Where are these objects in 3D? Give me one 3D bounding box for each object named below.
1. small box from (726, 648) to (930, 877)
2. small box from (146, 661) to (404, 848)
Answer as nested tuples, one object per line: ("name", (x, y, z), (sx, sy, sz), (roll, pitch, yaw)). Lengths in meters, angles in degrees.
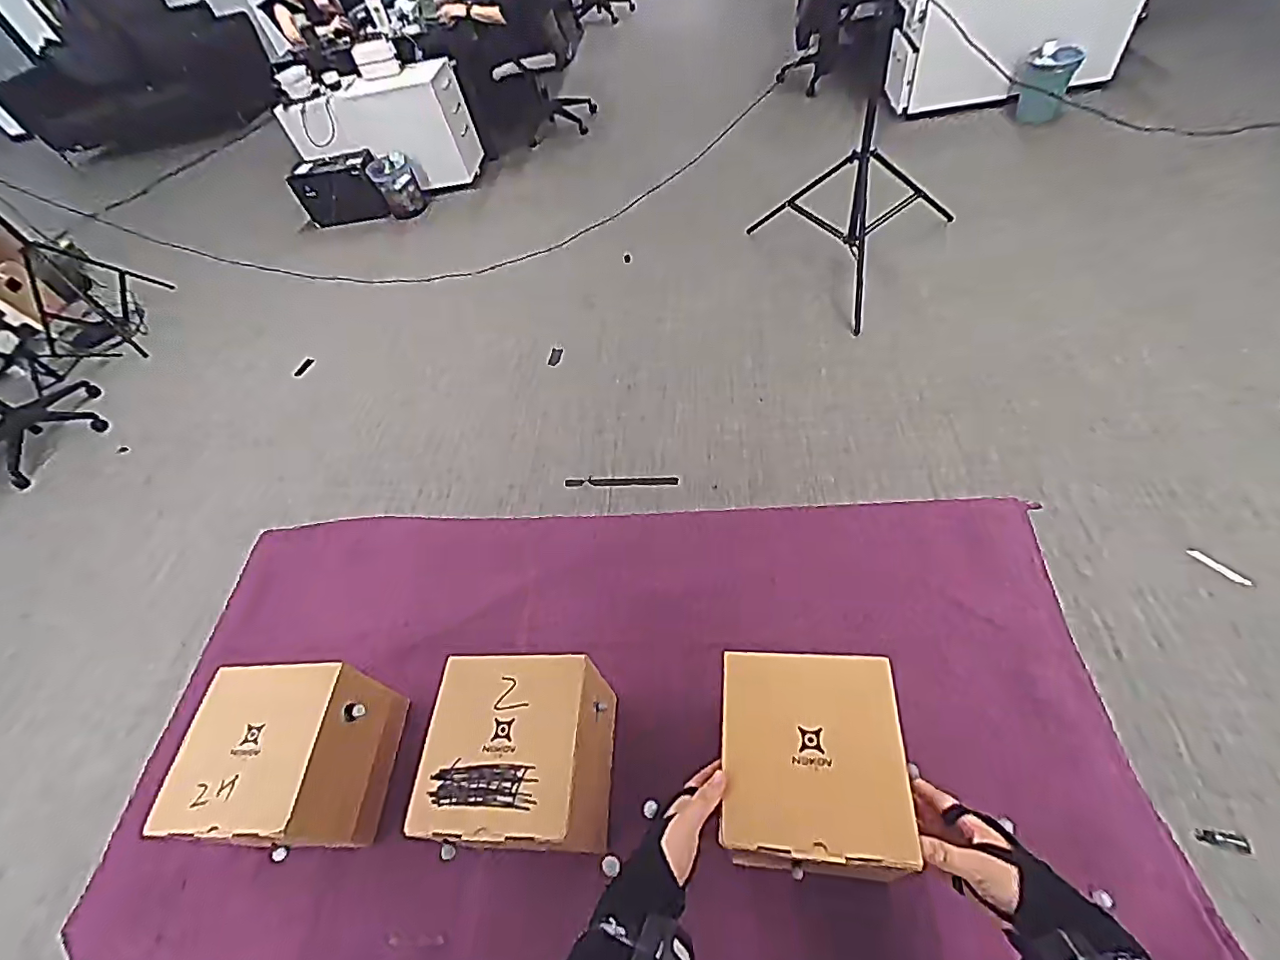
("small box", (0.178, 0.293, 0.563), (0.168, 0.176, 0.179), (-2, 52, 12))
("small box", (-0.415, 0.335, 0.657), (0.168, 0.176, 0.179), (-5, 53, 7))
